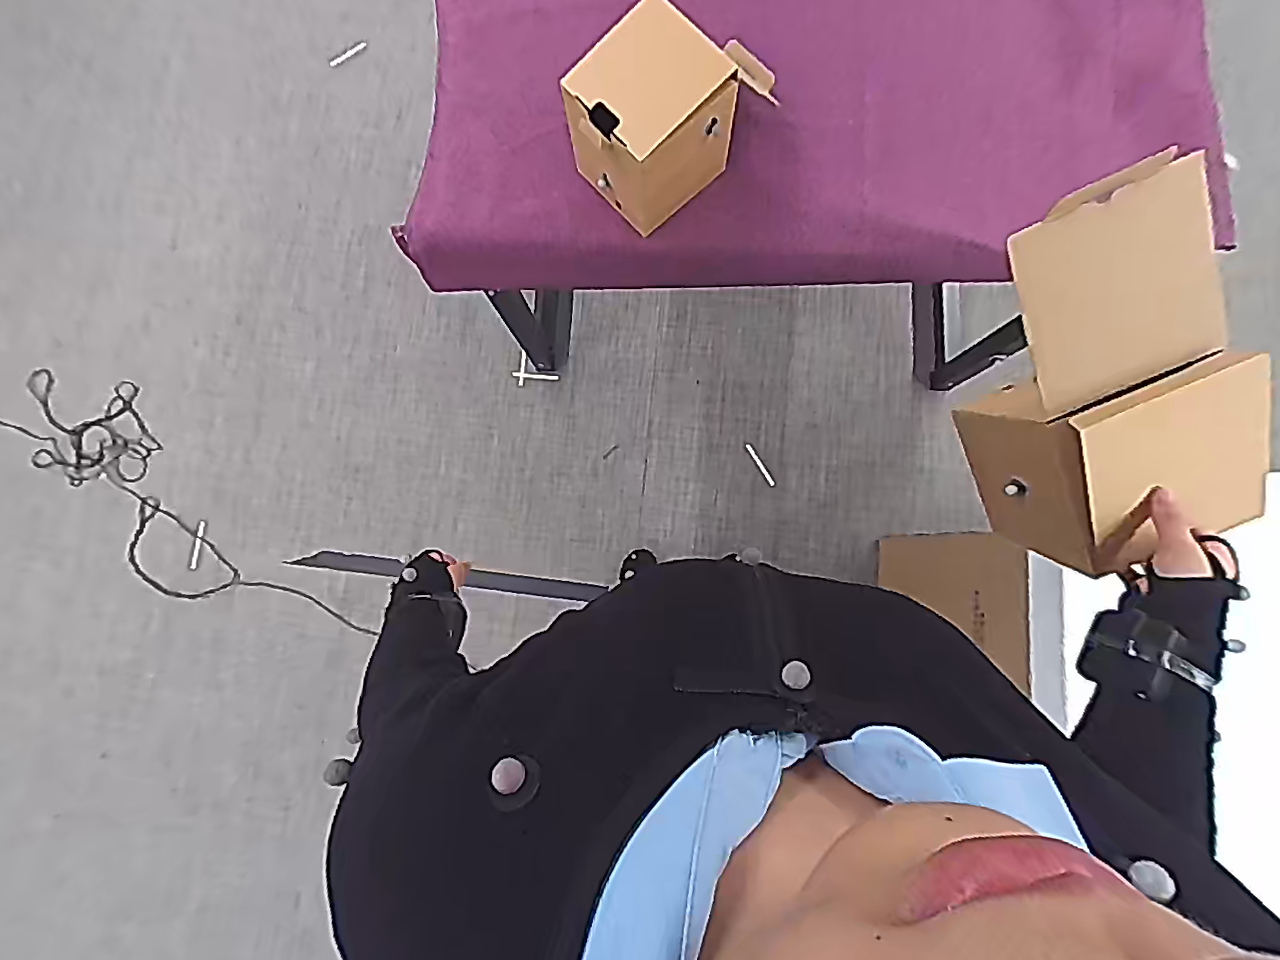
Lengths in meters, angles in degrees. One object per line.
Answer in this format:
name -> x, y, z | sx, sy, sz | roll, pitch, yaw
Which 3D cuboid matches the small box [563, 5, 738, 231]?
small box -> 0.014, -0.512, 0.788 | 0.179, 0.176, 0.168 | -42, 81, -4
